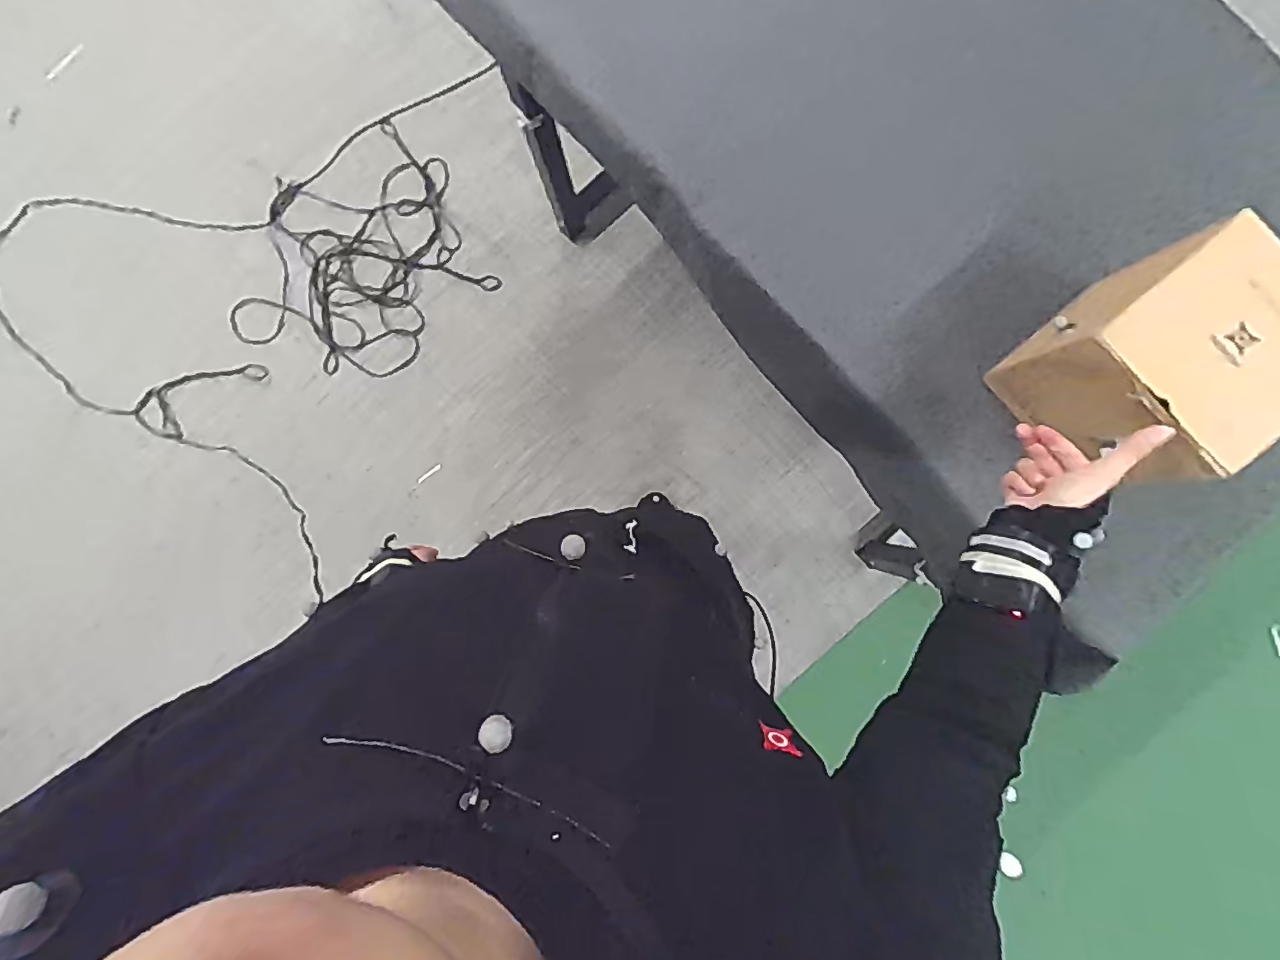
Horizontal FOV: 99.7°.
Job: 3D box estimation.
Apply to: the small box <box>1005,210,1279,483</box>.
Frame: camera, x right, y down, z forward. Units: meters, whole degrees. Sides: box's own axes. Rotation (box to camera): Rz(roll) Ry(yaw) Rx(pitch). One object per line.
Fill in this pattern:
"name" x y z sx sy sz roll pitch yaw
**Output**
"small box" 0.509 -0.110 0.533 0.179 0.176 0.168 -40 88 -2
